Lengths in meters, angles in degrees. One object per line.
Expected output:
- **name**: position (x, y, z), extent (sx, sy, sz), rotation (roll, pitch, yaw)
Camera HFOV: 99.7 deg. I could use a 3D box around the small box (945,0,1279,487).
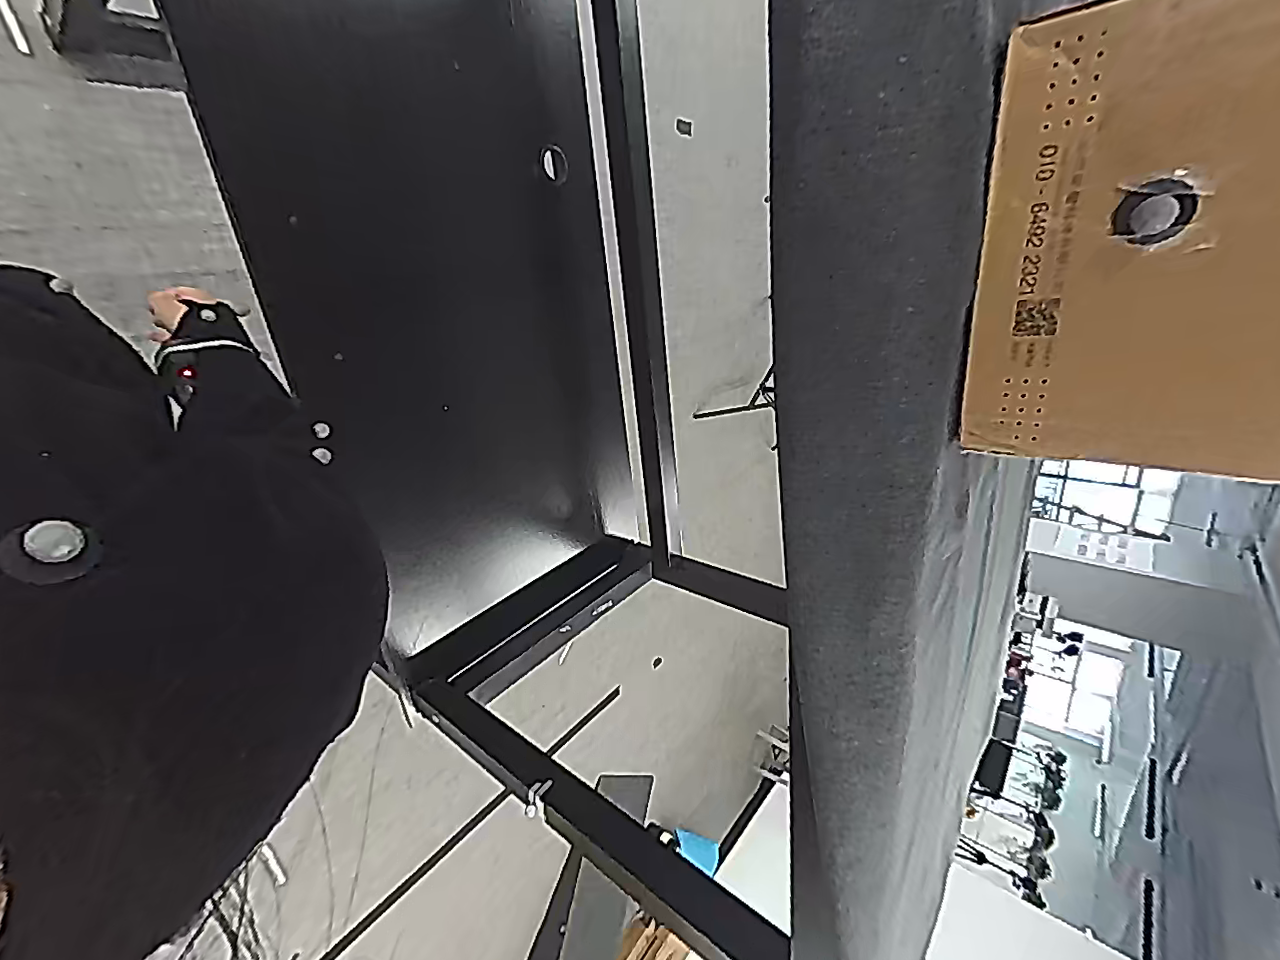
- **small box**: position (0.258, -0.107, 0.246), extent (0.179, 0.176, 0.168), rotation (-31, 122, -44)
